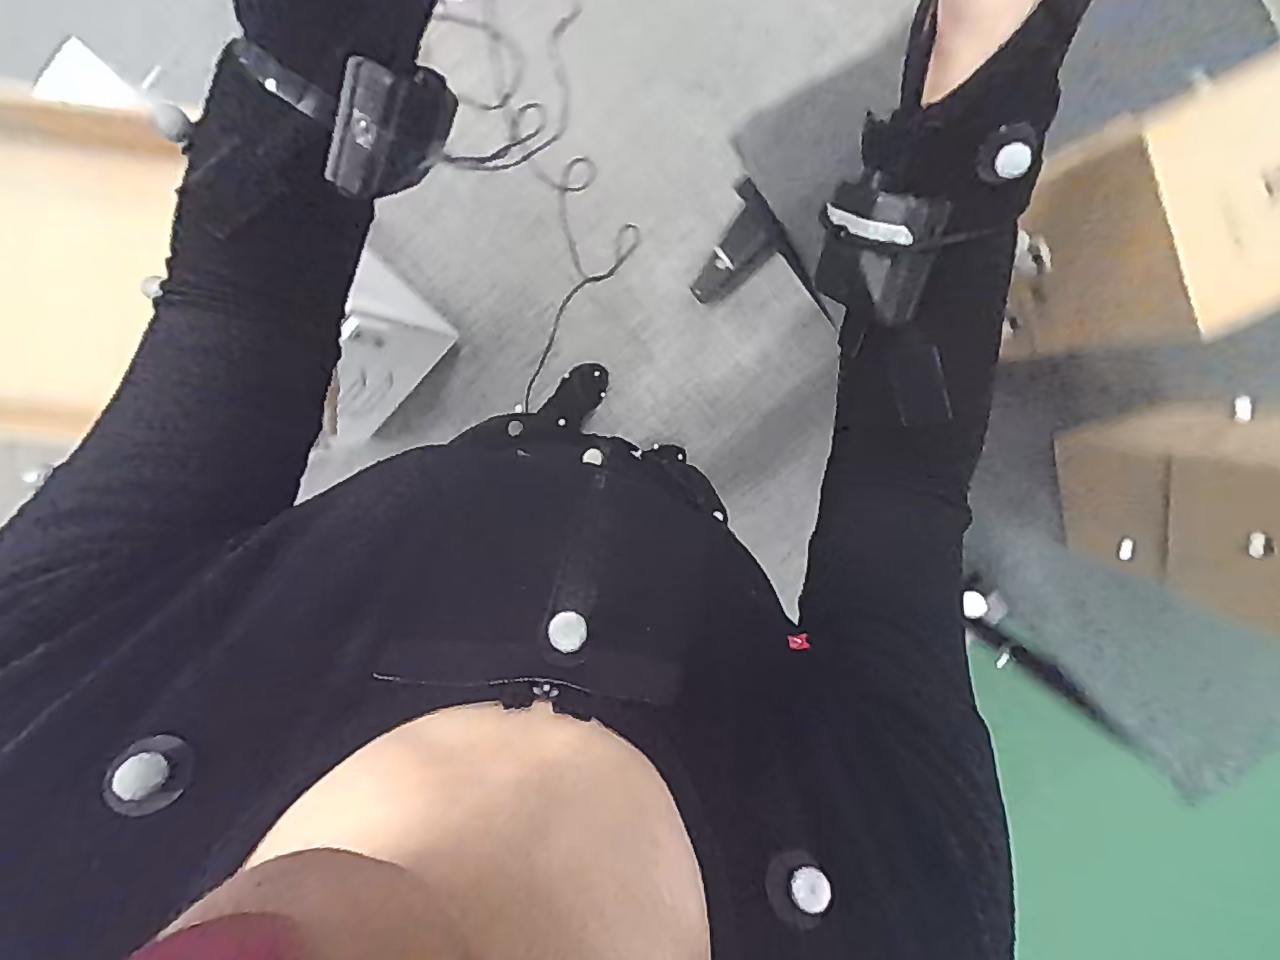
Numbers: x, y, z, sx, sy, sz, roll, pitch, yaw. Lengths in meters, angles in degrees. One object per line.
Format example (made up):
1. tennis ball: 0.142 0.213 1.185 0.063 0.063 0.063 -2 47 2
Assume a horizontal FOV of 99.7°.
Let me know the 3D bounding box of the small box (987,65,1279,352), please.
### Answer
1. small box: 0.461 -0.226 0.480 0.179 0.176 0.168 -25 99 3

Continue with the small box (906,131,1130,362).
1. small box: 0.459 -0.254 0.640 0.168 0.176 0.179 -31 99 2
